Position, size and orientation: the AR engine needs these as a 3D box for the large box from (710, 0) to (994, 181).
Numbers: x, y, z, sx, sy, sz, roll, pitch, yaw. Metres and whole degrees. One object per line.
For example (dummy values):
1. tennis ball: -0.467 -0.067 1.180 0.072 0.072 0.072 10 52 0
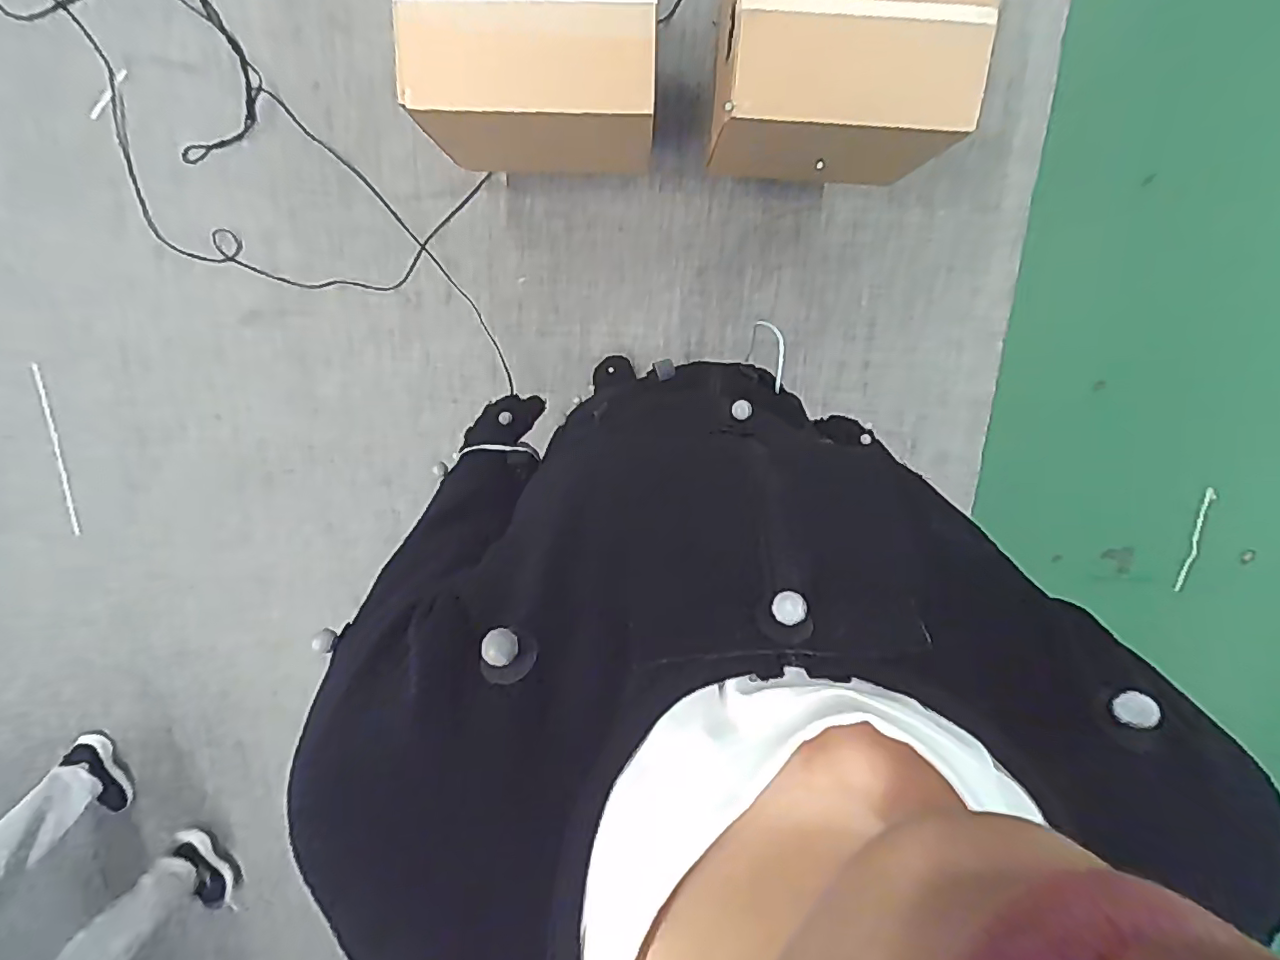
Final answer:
1. large box: 0.359 -0.769 1.001 0.408 0.320 0.320 3 104 -1
